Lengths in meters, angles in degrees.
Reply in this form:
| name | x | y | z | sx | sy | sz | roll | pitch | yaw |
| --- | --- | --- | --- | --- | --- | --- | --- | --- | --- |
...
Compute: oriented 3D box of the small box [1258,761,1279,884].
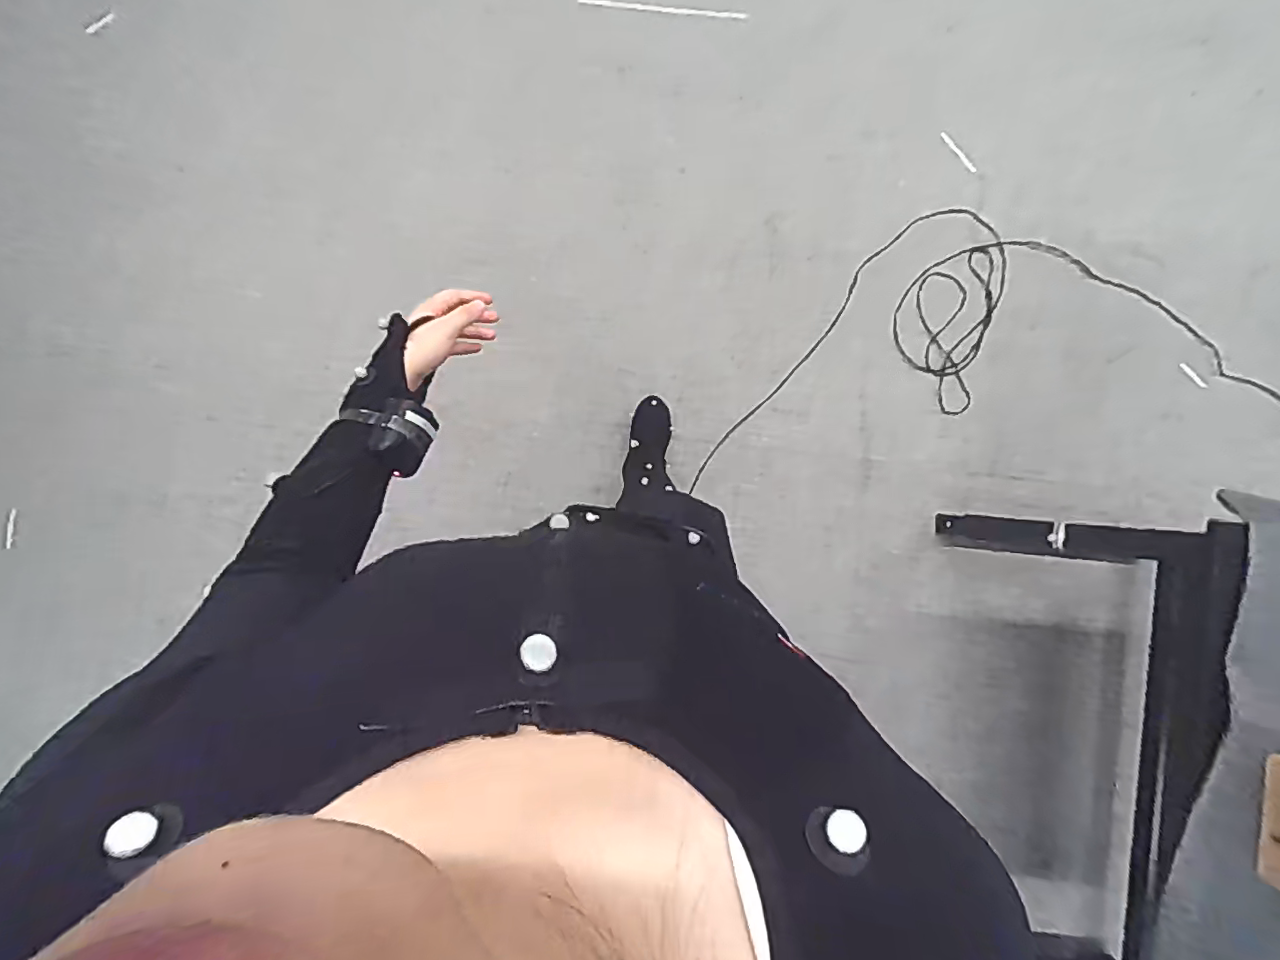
| name | x | y | z | sx | sy | sz | roll | pitch | yaw |
| --- | --- | --- | --- | --- | --- | --- | --- | --- | --- |
| small box | 0.921 | 0.454 | 0.643 | 0.179 | 0.176 | 0.168 | 6 | 88 | -1 |
